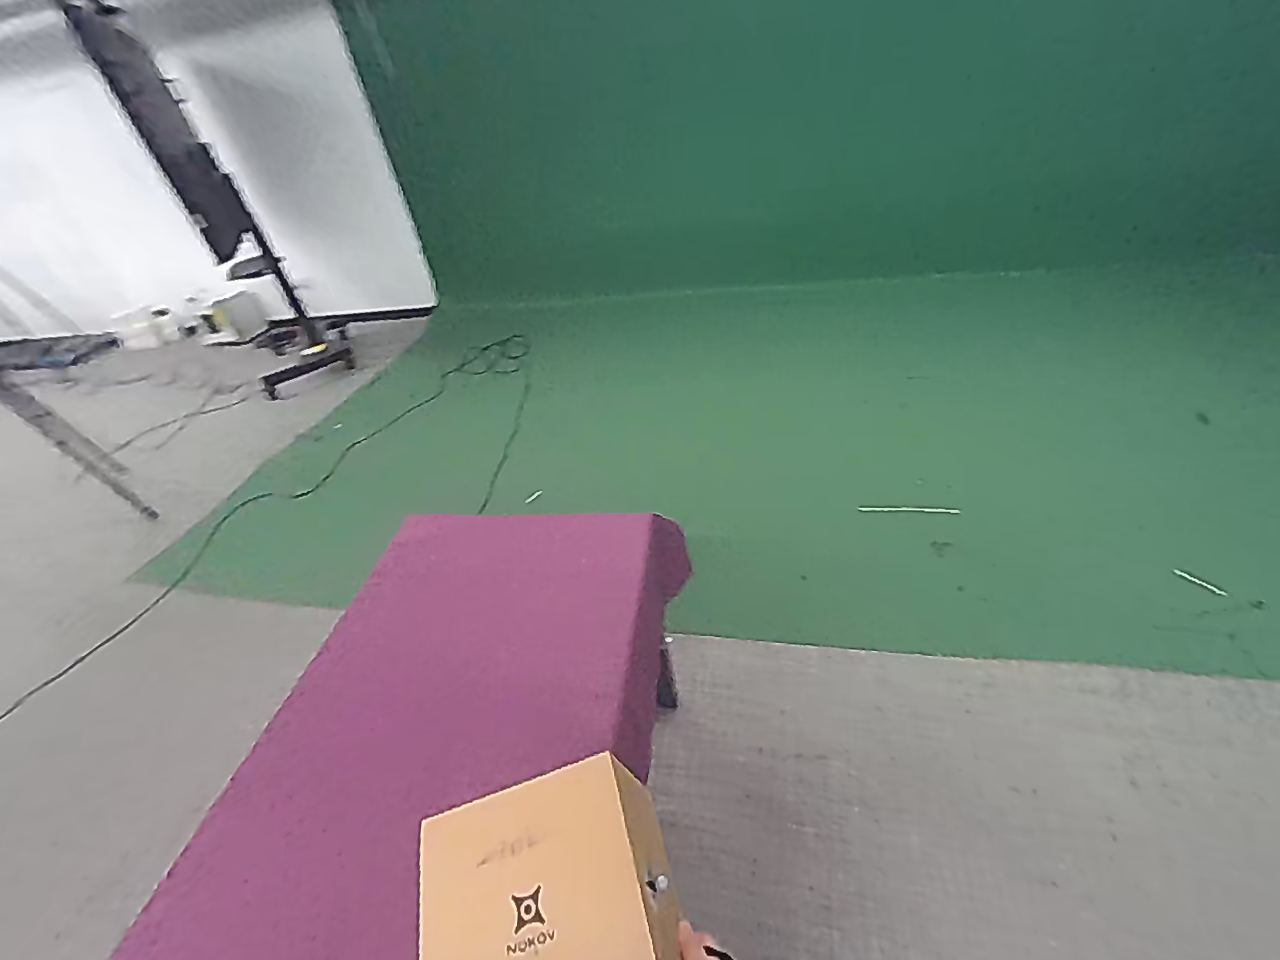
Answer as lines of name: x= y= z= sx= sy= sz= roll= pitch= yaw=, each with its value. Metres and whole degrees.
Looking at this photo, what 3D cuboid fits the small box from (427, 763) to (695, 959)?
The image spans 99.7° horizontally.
small box: x=-0.056 y=0.365 z=0.442 sx=0.168 sy=0.176 sz=0.179 roll=-19 pitch=47 yaw=-1
